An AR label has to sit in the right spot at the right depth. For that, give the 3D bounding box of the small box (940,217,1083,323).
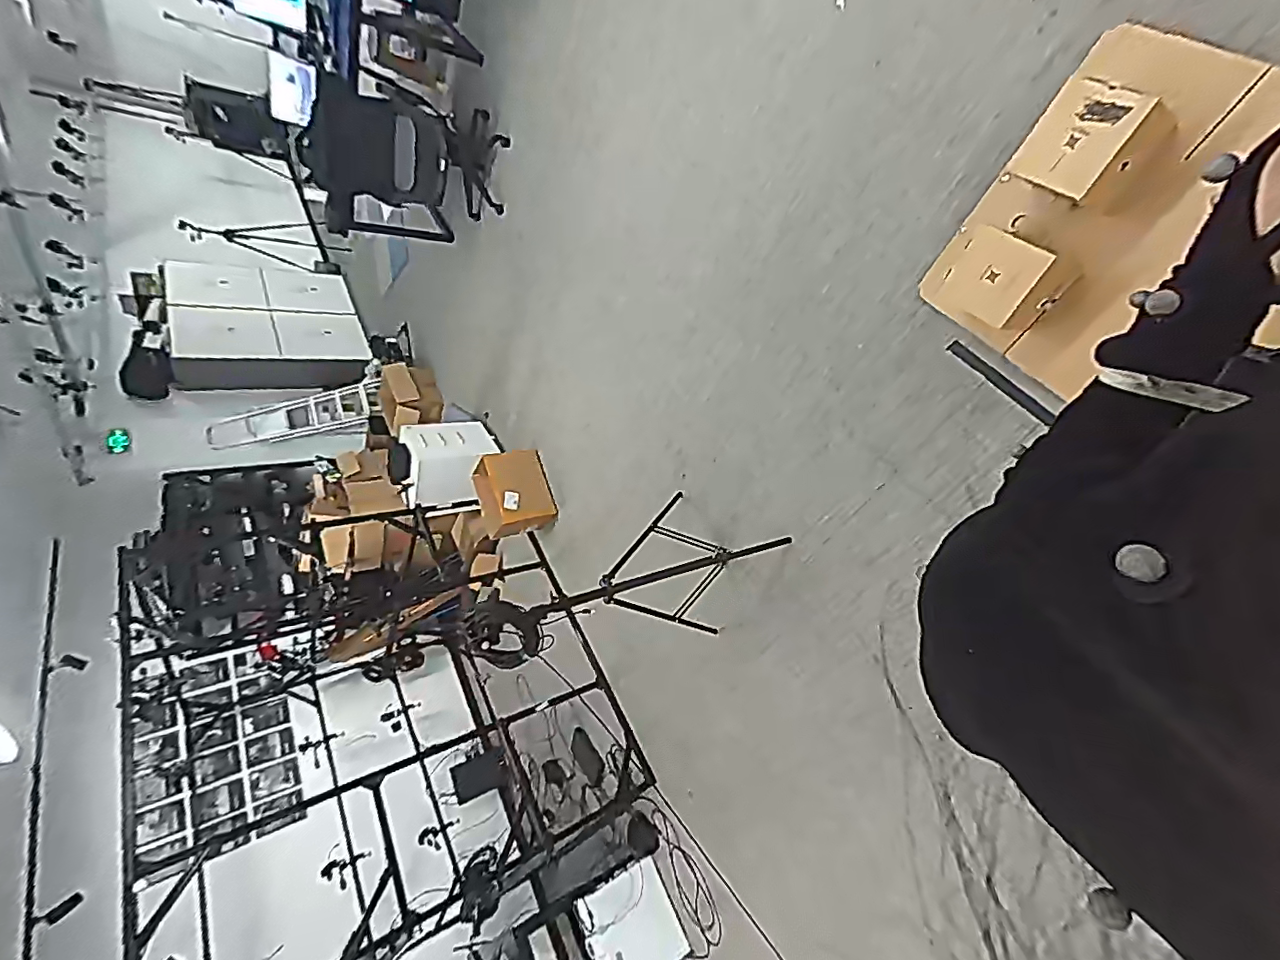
[{"bbox_3d":[0.828,-0.462,1.211,0.179,0.176,0.168,50,135,33],"label":"small box"}]

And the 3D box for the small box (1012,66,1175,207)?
[{"bbox_3d":[0.897,-0.670,1.069,0.168,0.176,0.179,53,135,32],"label":"small box"}]
